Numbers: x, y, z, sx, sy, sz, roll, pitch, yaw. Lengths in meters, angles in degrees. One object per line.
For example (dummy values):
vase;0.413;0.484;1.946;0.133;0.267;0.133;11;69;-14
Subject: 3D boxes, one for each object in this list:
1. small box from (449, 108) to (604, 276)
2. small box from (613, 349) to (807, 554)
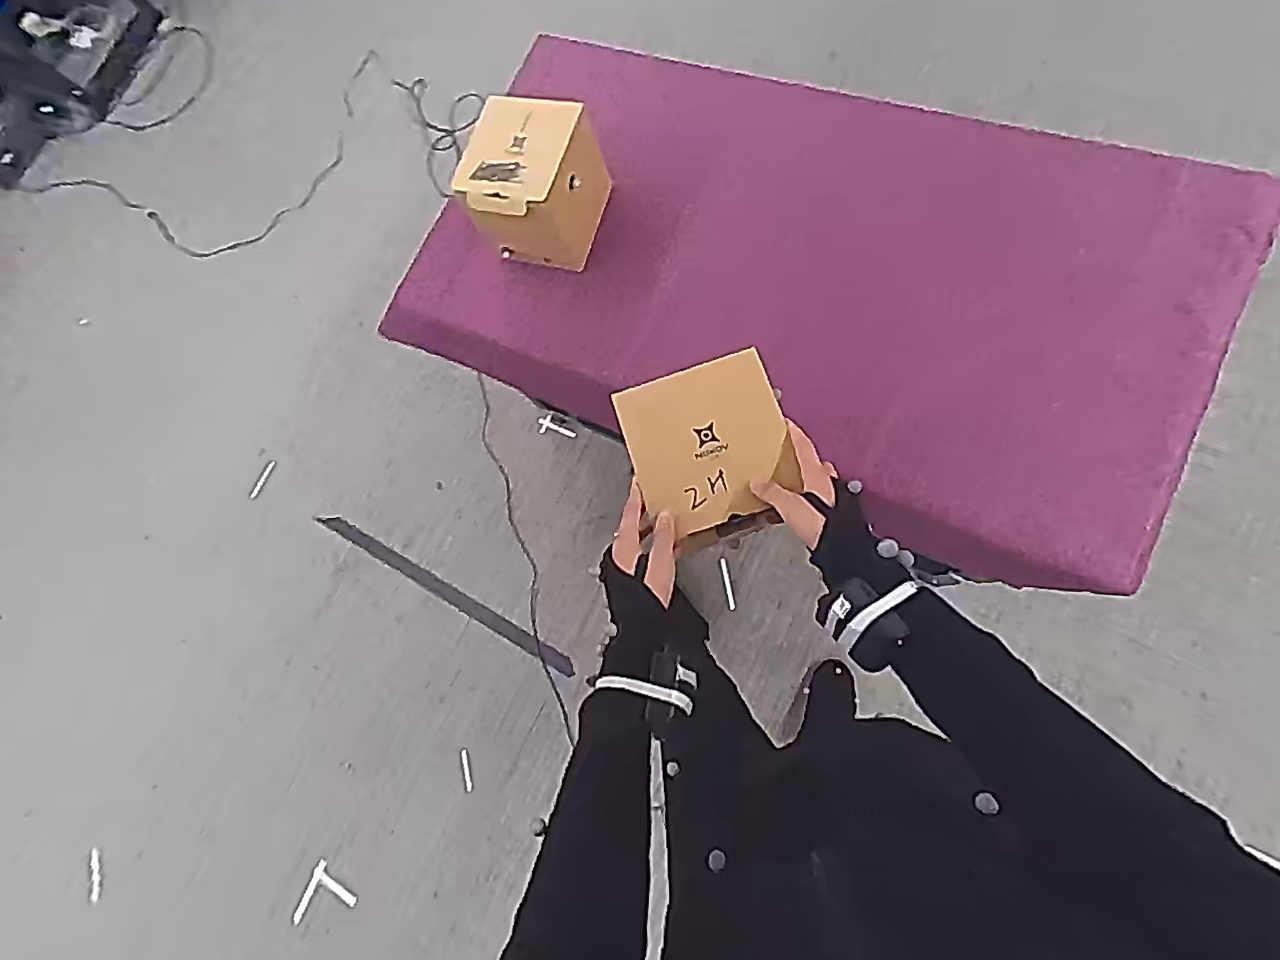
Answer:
small box;-0.173;-0.463;0.886;0.168;0.176;0.179;15;80;15
small box;0.078;-0.022;0.644;0.168;0.176;0.179;-18;75;4
